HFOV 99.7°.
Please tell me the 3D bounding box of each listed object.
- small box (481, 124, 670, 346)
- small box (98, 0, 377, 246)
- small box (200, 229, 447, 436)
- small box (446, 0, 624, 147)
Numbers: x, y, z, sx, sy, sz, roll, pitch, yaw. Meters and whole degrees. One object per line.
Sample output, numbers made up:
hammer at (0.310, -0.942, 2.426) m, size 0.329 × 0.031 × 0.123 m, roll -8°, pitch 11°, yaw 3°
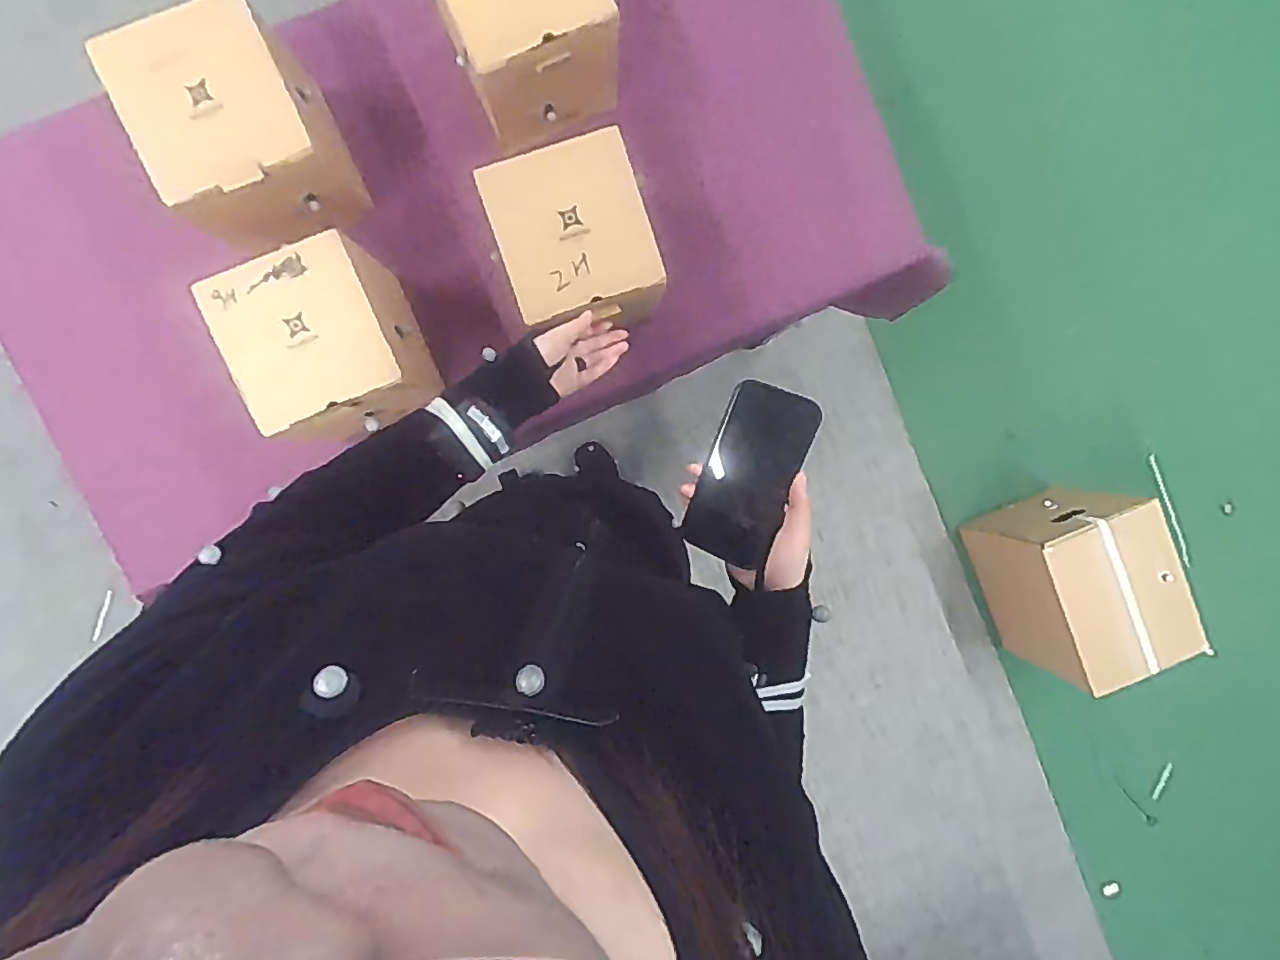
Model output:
small box at (-0.073, -0.283, 0.664) m, size 0.168 × 0.176 × 0.179 m, roll -18°, pitch 95°, yaw -1°
small box at (-0.447, -0.400, 0.636) m, size 0.168 × 0.176 × 0.179 m, roll -23°, pitch 95°, yaw -2°
small box at (-0.361, -0.164, 0.657) m, size 0.168 × 0.176 × 0.179 m, roll -23°, pitch 96°, yaw -2°
small box at (-0.130, -0.549, 0.643) m, size 0.168 × 0.176 × 0.179 m, roll -26°, pitch 96°, yaw -1°
